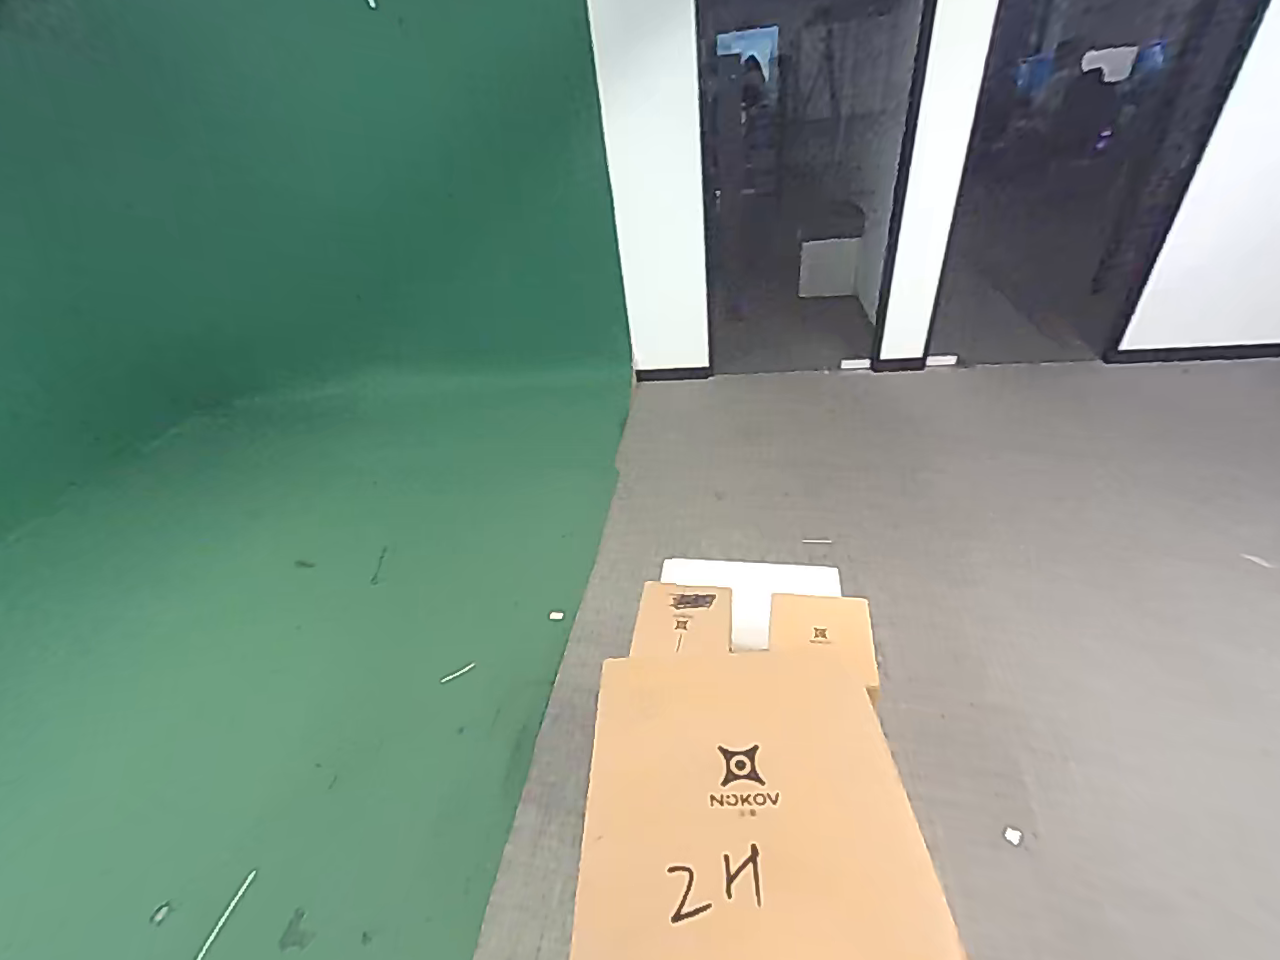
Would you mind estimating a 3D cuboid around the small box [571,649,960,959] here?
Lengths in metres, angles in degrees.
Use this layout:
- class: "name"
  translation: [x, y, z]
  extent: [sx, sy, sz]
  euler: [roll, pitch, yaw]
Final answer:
- class: "small box"
  translation: [0.063, 0.230, 0.335]
  extent: [0.168, 0.176, 0.179]
  euler: [-4, 31, 6]

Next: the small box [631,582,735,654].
- class: "small box"
  translation: [0.086, 0.314, 0.997]
  extent: [0.168, 0.176, 0.179]
  euler: [2, 38, 12]

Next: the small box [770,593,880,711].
- class: "small box"
  translation: [0.311, 0.324, 0.942]
  extent: [0.168, 0.176, 0.179]
  euler: [1, 38, 14]
